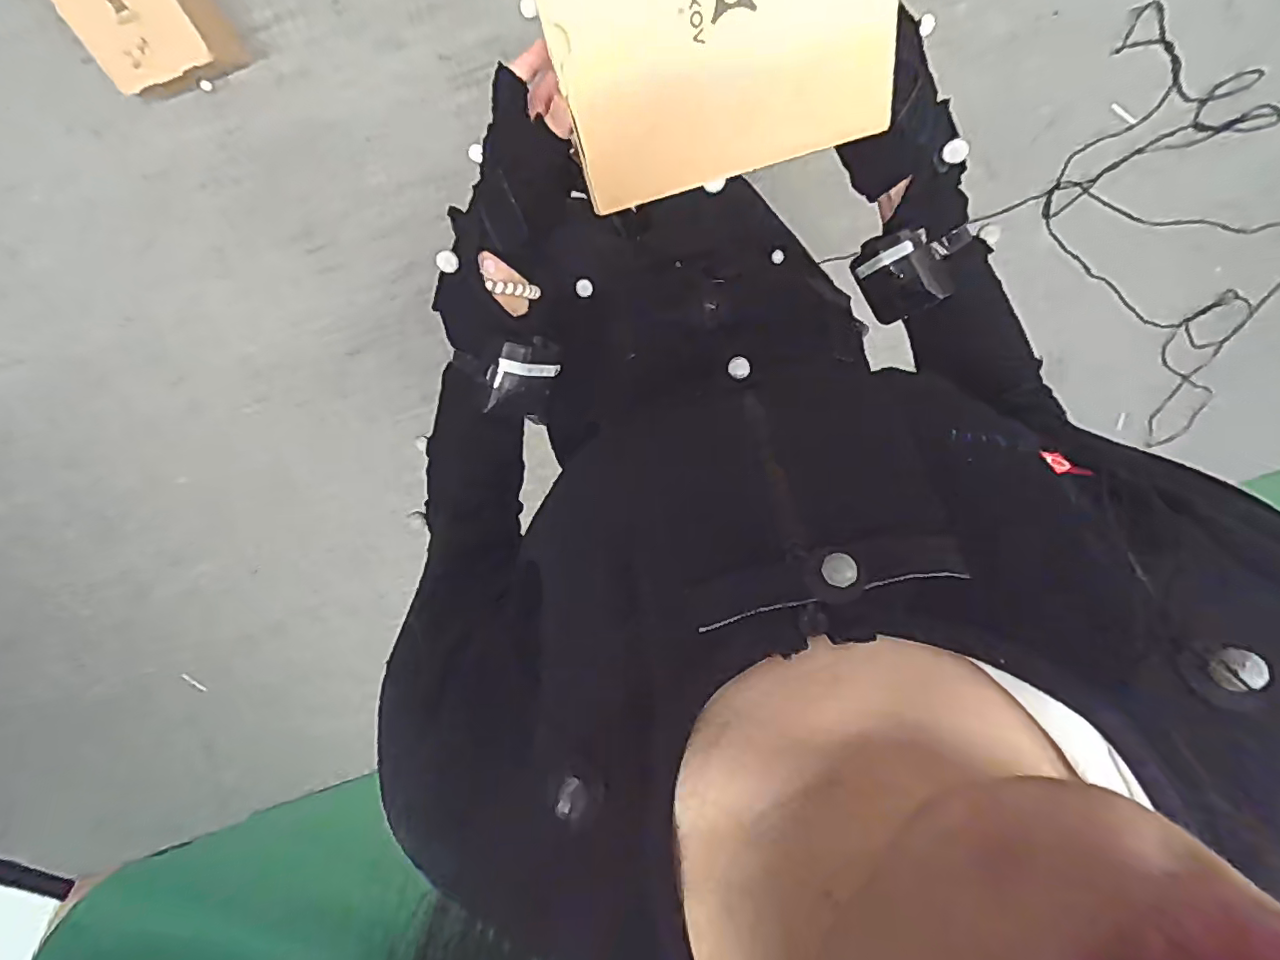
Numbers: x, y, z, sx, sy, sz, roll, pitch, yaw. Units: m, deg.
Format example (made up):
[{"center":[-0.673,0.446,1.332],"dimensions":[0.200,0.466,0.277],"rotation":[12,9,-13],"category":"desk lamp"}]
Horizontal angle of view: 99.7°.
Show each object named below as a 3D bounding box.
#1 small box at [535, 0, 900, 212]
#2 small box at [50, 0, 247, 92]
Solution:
[{"center":[0.029,-0.287,0.311],"dimensions":[0.179,0.176,0.168],"rotation":[-14,134,4],"category":"small box"},{"center":[-0.795,-0.755,0.873],"dimensions":[0.168,0.176,0.179],"rotation":[-20,128,3],"category":"small box"}]
